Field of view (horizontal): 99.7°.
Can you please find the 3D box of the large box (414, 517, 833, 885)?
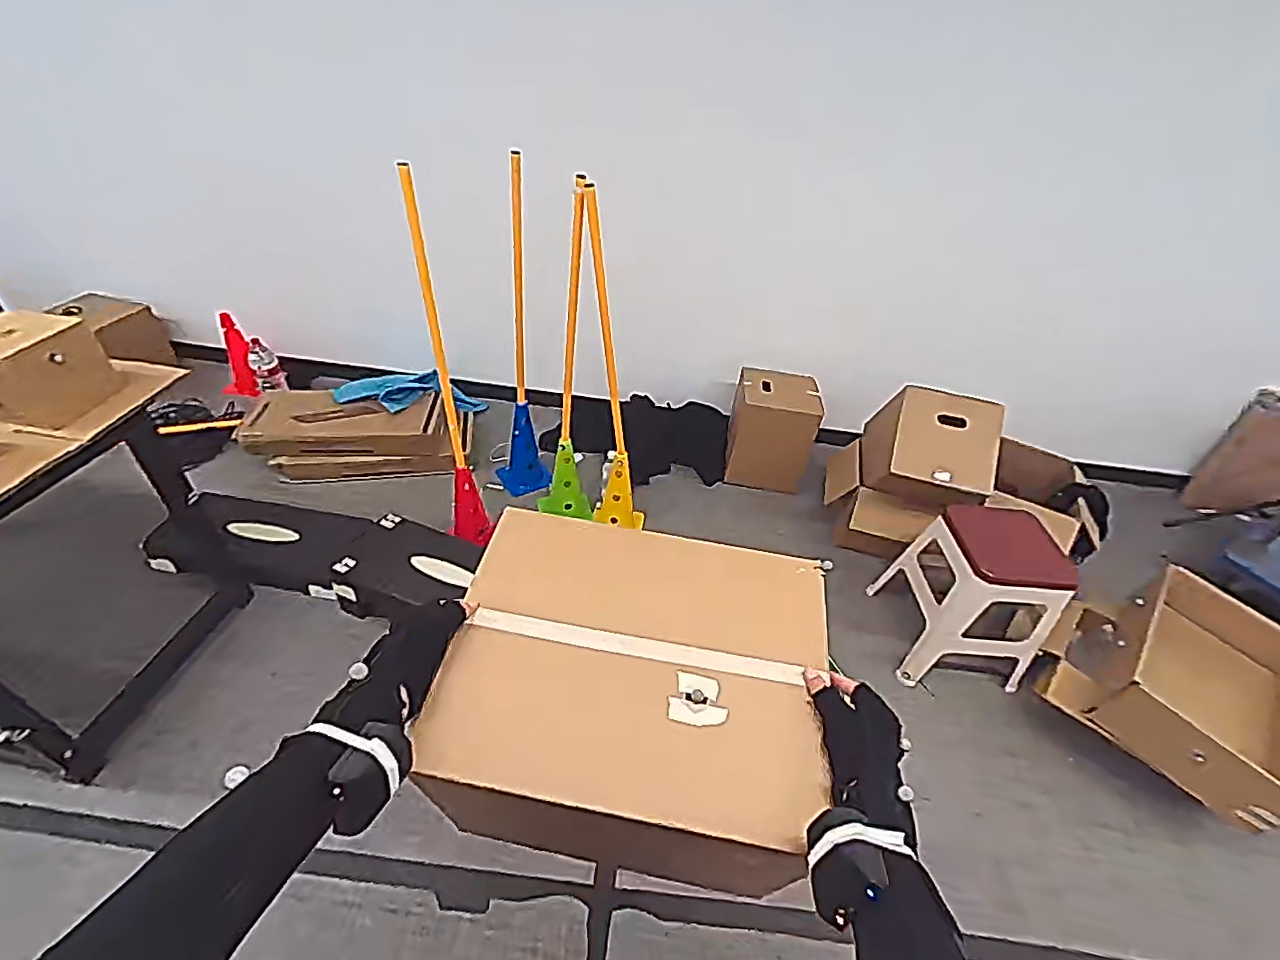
[{"bbox_3d":[-0.009,0.288,0.705,0.408,0.320,0.320,10,48,3],"label":"large box"}]
